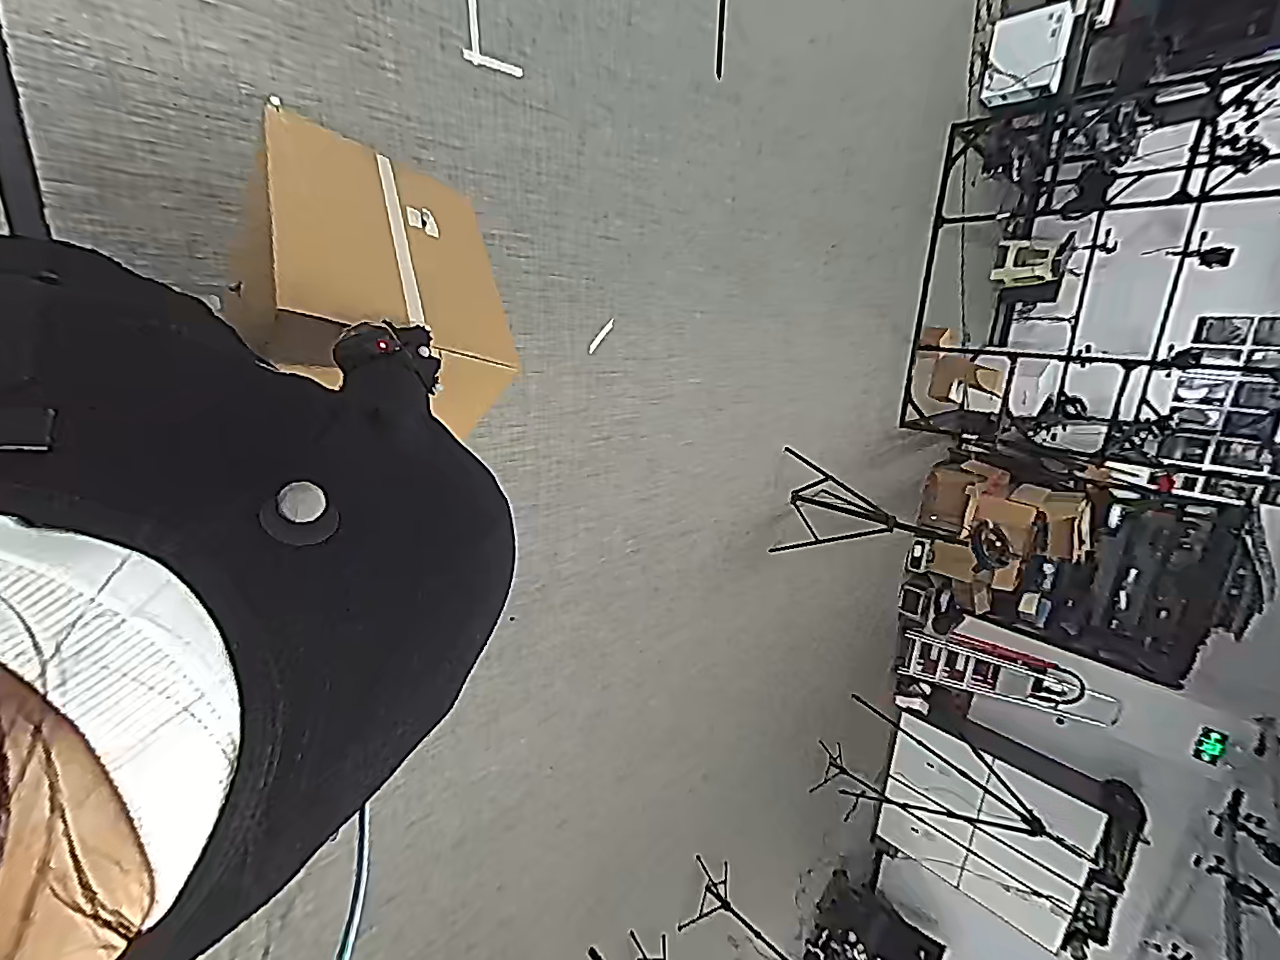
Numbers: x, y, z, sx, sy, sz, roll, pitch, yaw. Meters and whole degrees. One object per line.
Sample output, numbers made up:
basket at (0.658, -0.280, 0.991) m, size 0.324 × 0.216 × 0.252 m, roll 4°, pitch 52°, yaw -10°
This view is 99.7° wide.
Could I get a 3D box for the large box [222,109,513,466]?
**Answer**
large box at (-0.459, -0.271, 0.880) m, size 0.320 × 0.408 × 0.320 m, roll 6°, pitch 144°, yaw -47°
